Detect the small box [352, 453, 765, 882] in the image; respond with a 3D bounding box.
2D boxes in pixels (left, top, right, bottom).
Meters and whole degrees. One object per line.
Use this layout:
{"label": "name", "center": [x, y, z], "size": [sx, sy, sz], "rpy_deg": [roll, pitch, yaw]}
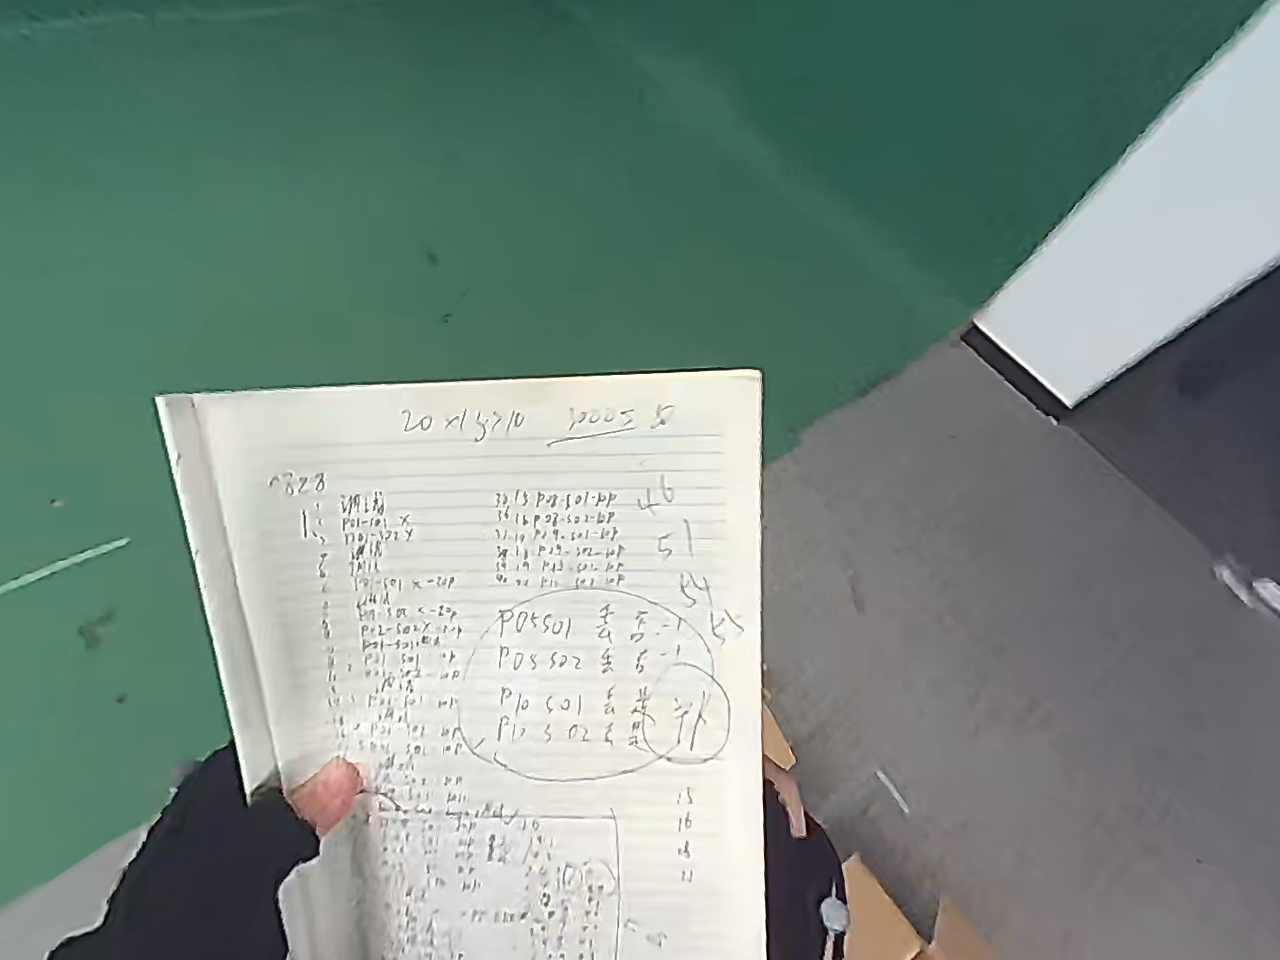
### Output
{"label": "small box", "center": [-0.037, 0.084, 0.319], "size": [0.168, 0.176, 0.179], "rpy_deg": [7, 90, -1]}
